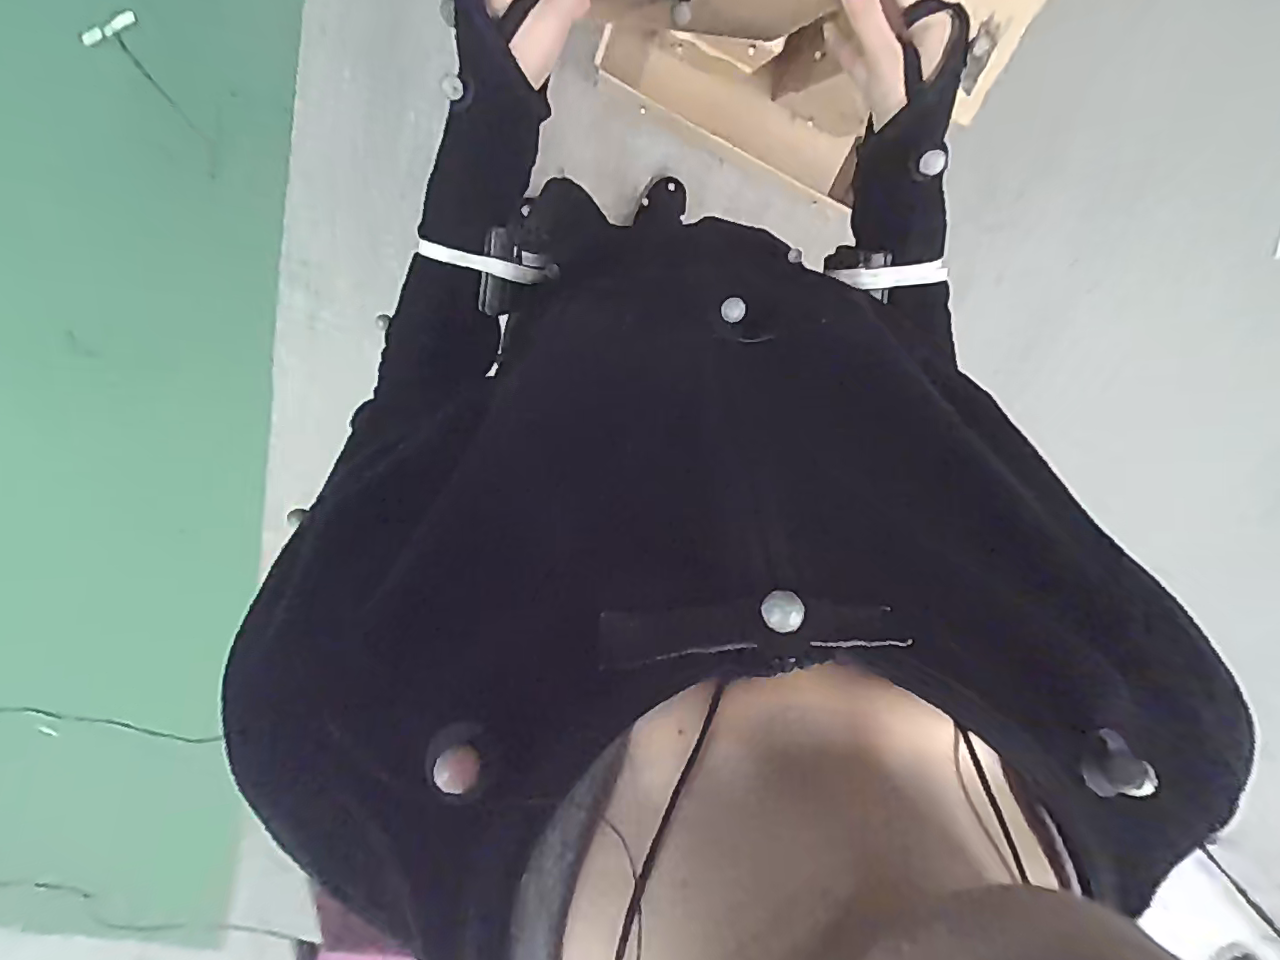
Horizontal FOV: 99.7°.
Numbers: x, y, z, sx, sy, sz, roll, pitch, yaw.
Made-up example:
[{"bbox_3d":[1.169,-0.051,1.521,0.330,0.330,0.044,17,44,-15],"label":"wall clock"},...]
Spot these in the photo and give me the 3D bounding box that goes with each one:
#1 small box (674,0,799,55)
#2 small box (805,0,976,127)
[{"bbox_3d":[0.164,-0.803,0.844,0.179,0.176,0.168,17,118,-14],"label":"small box"},{"bbox_3d":[0.398,-0.720,0.901,0.168,0.176,0.179,20,116,-14],"label":"small box"}]
